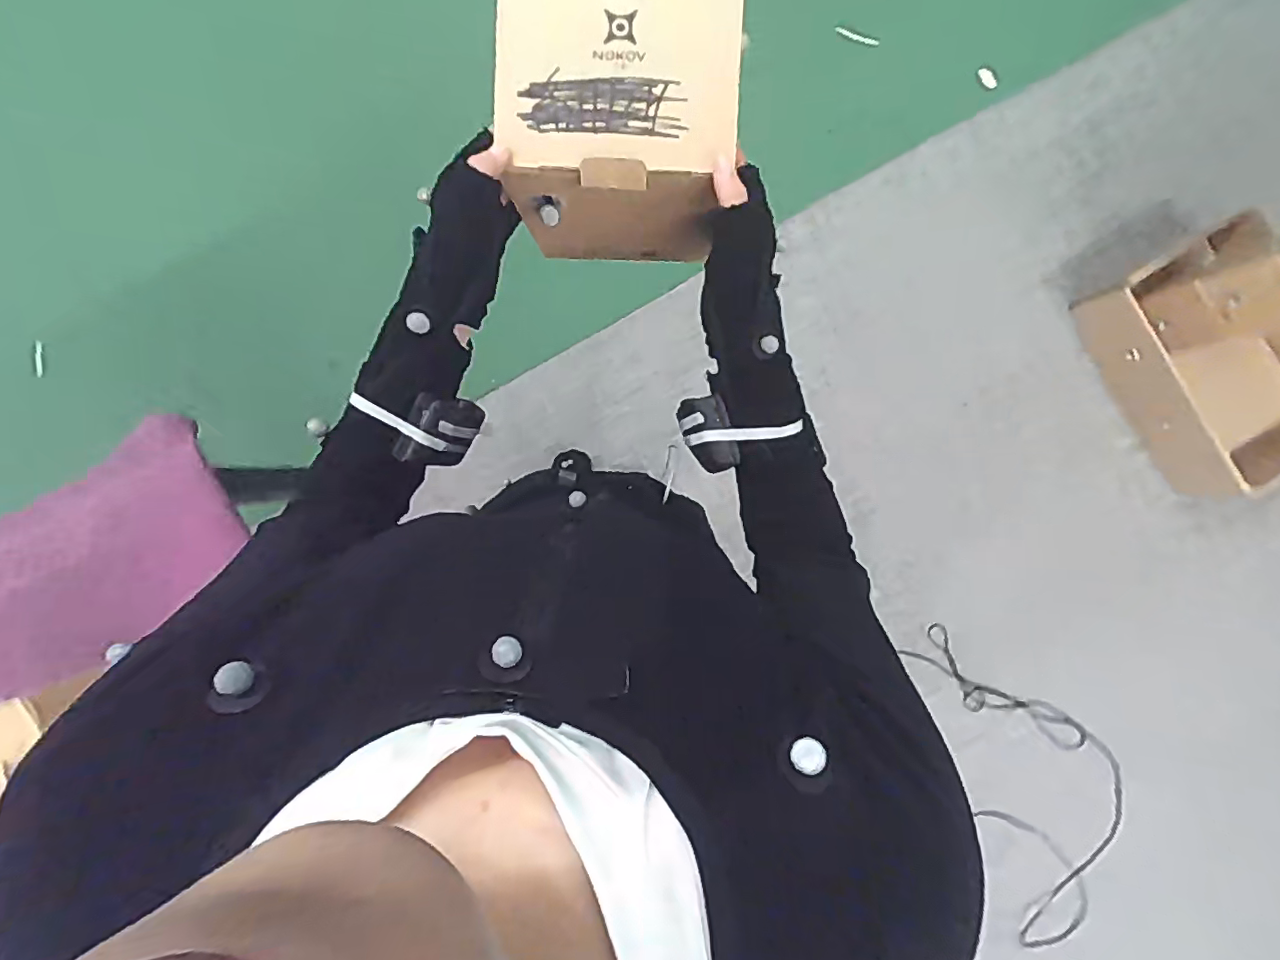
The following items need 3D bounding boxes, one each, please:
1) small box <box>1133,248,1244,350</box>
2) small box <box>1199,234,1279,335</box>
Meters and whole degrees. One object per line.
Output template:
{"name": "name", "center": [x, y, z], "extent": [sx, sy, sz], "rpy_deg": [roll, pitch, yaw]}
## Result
{"name": "small box", "center": [1.416, -0.452, 1.358], "extent": [0.179, 0.176, 0.168], "rpy_deg": [-30, 92, -1]}
{"name": "small box", "center": [1.423, -0.448, 1.196], "extent": [0.179, 0.176, 0.168], "rpy_deg": [-31, 93, -1]}
